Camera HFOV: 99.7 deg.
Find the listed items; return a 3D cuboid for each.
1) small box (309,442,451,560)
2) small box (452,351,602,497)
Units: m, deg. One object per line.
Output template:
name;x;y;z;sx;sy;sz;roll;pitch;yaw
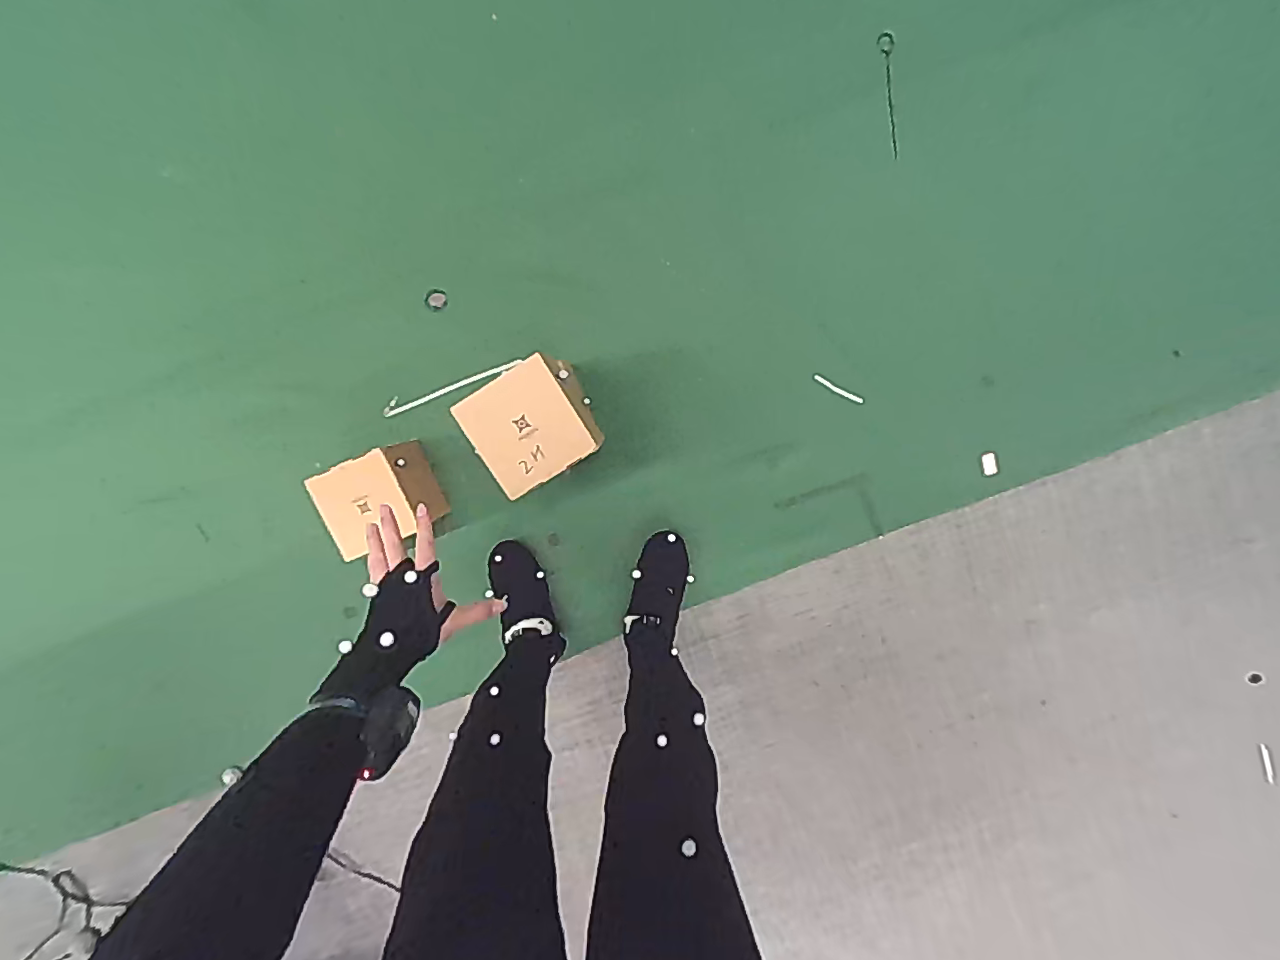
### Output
small box;-0.518;0.035;1.107;0.168;0.176;0.179;-23;97;5
small box;-0.179;-0.096;0.915;0.168;0.176;0.179;-32;98;6
